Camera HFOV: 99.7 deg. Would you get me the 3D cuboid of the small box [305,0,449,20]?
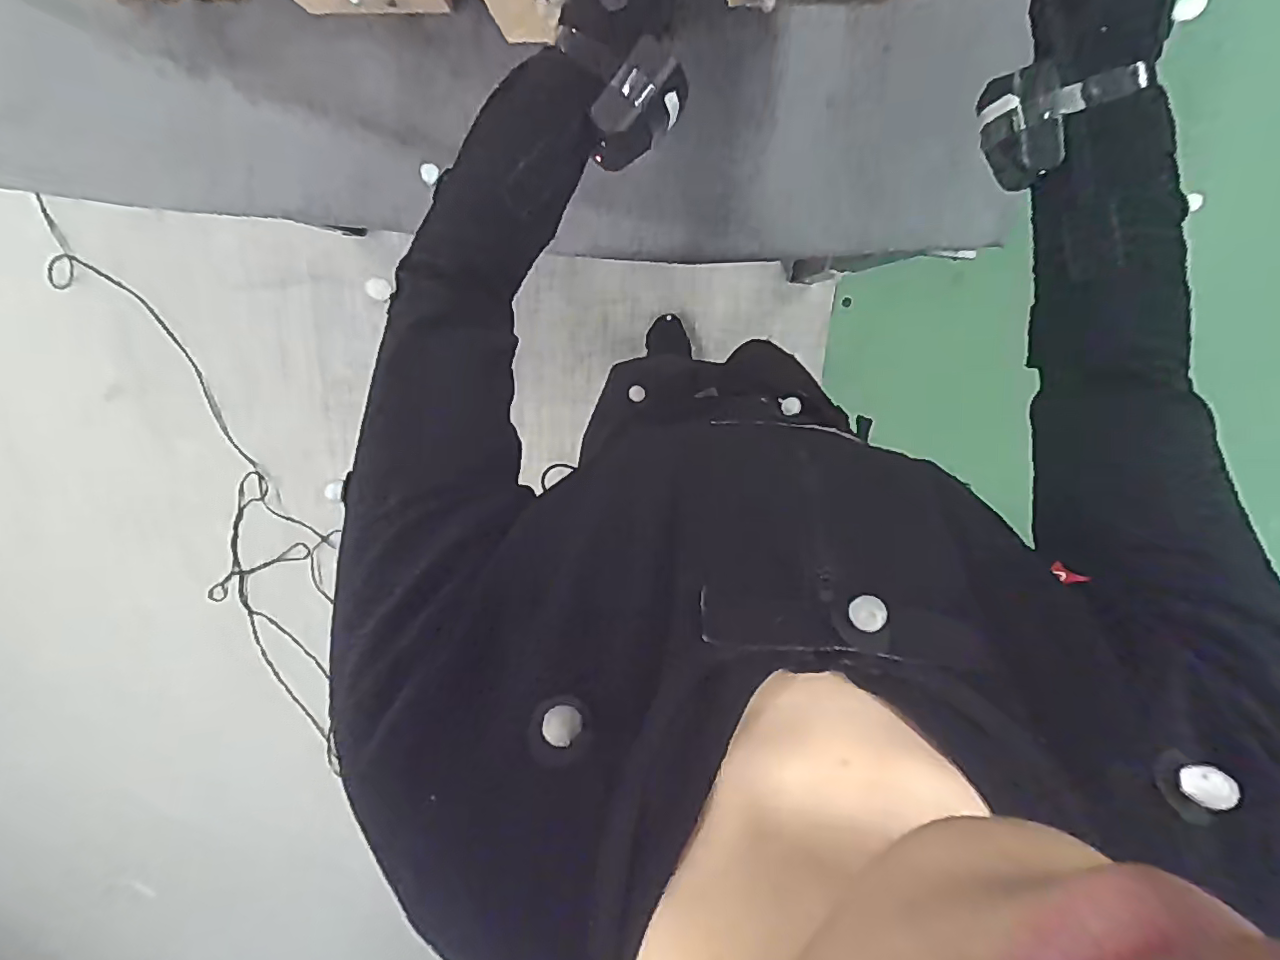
[{"bbox_3d":[-0.288,-0.571,0.493,0.168,0.176,0.179,2,106,3],"label":"small box"}]
